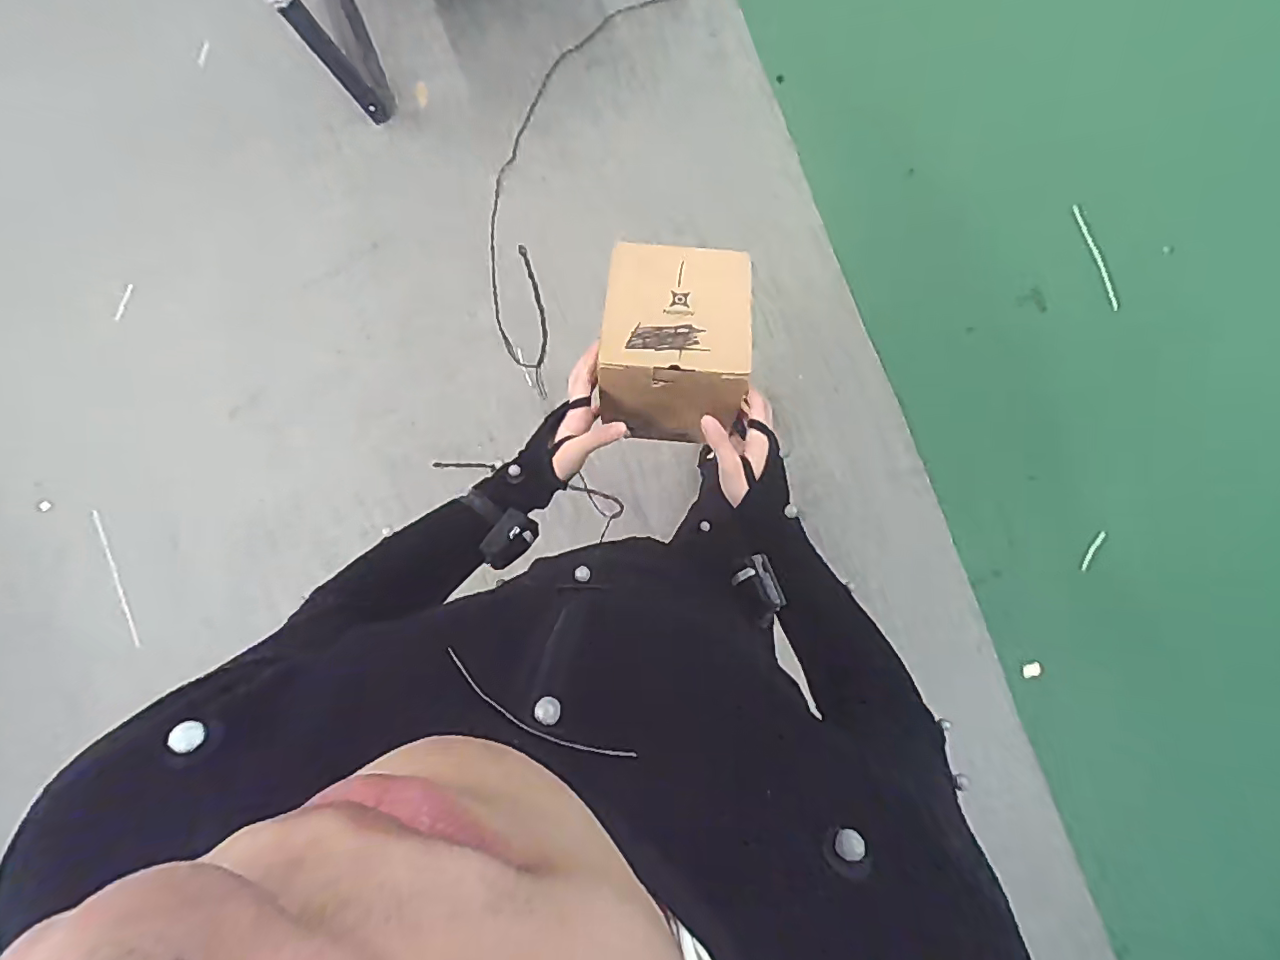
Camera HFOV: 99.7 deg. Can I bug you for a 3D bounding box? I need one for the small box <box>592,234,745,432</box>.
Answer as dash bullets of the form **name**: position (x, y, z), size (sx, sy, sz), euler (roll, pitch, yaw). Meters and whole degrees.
- **small box**: position (0.036, -0.175, 0.680), size (0.168, 0.176, 0.179), euler (4, 66, 0)
